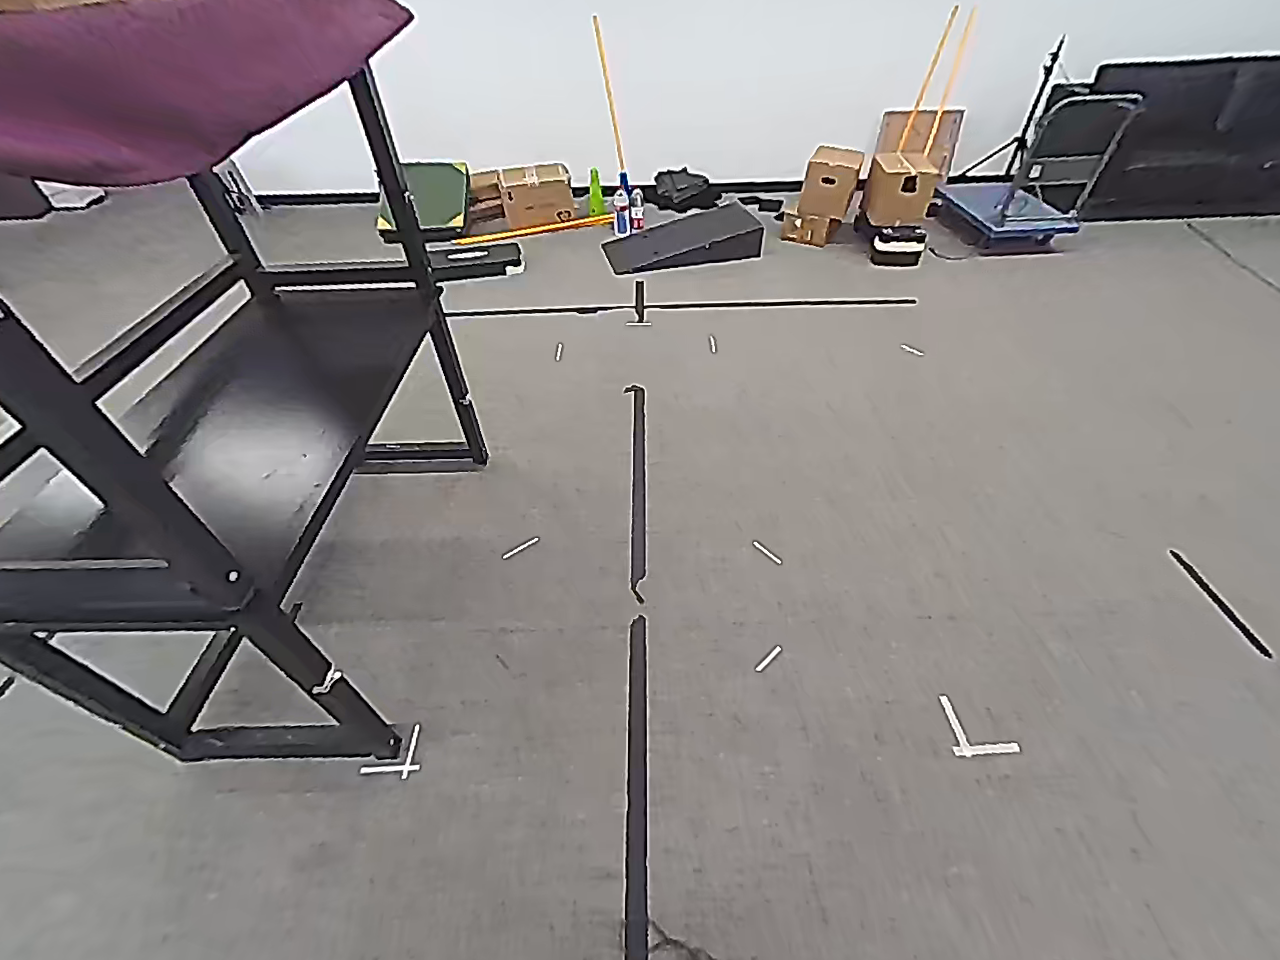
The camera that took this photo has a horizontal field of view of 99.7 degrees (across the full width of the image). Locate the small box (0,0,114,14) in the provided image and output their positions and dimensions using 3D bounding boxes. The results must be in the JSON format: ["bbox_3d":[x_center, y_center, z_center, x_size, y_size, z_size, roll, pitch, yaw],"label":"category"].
[{"bbox_3d":[-0.792,-0.659,0.632,0.179,0.176,0.168,-3,45,0],"label":"small box"}]
